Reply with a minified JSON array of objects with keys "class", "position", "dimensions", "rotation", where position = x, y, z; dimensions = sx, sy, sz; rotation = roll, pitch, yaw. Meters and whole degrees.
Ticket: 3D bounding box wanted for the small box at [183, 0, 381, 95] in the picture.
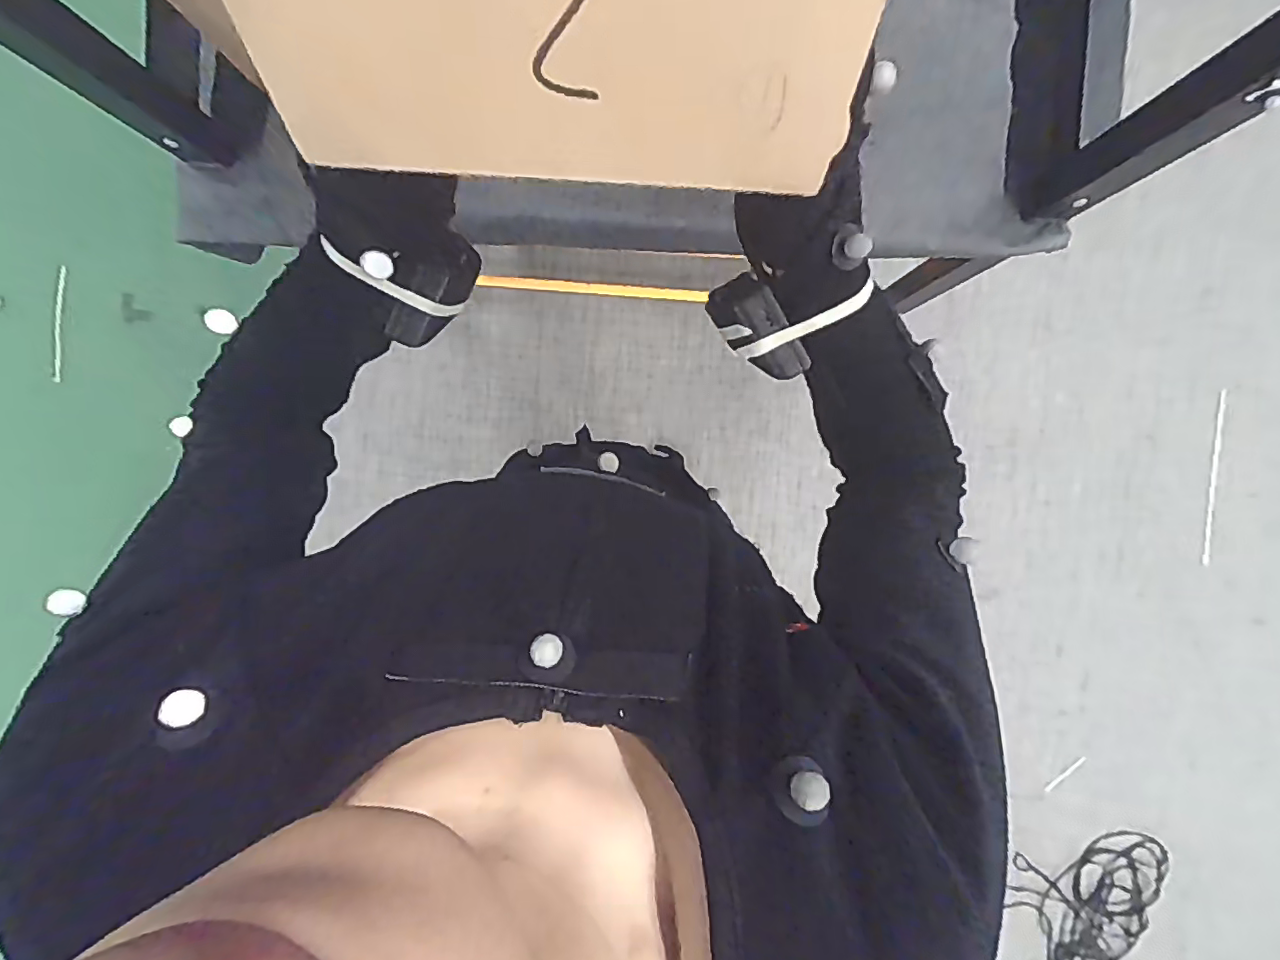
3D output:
[{"class":"small box","position":[-0.427,-0.606,0.642],"dimensions":[0.168,0.176,0.179],"rotation":[2,93,0]}]
